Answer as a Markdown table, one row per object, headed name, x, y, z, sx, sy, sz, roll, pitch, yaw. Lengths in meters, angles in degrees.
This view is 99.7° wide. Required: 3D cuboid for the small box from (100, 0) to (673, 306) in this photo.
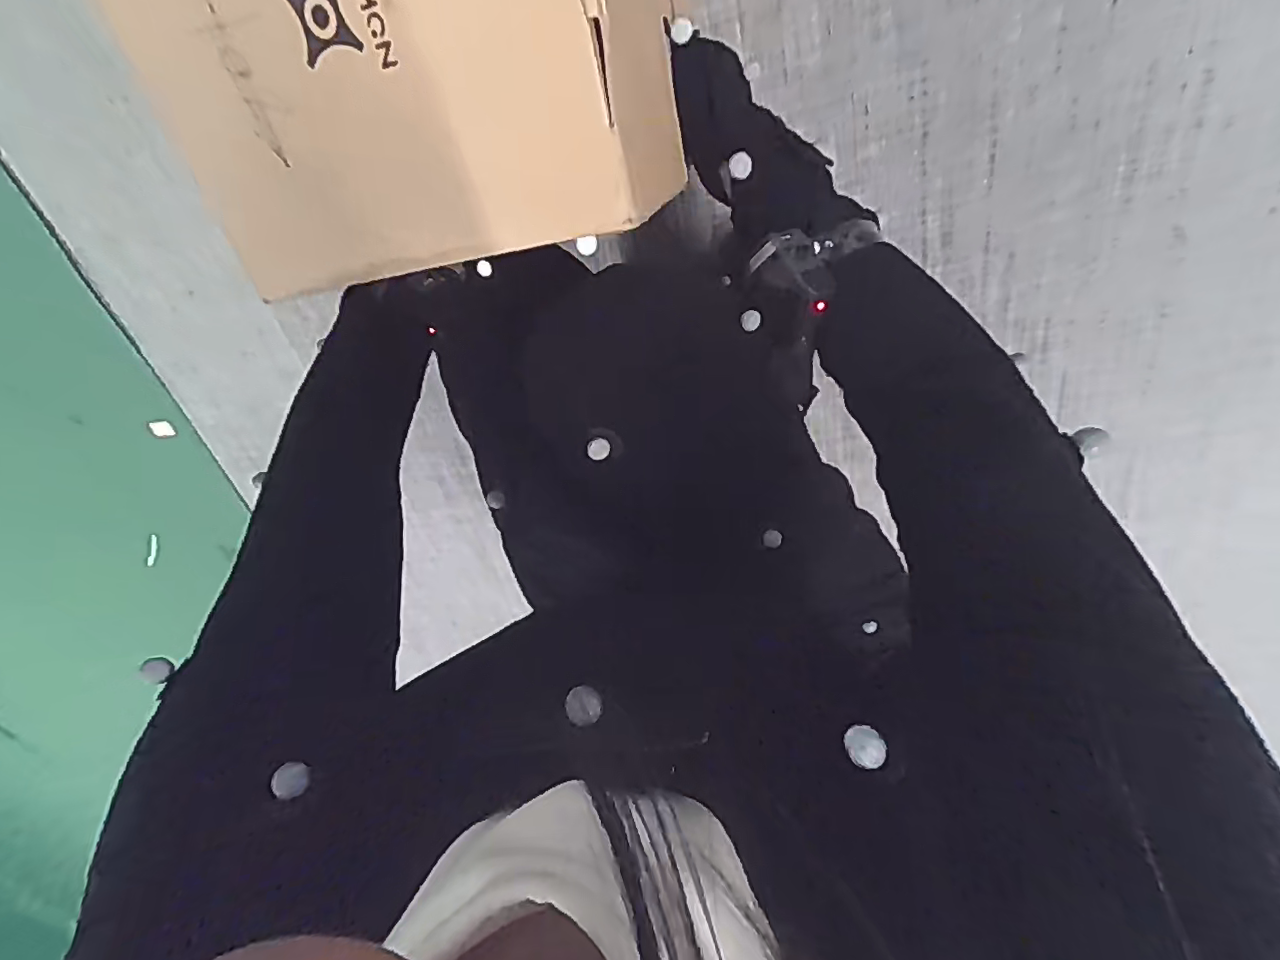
| name | x | y | z | sx | sy | sz | roll | pitch | yaw |
| --- | --- | --- | --- | --- | --- | --- | --- | --- | --- |
| small box | -0.087 | -0.197 | 0.247 | 0.179 | 0.176 | 0.168 | -5 | 121 | 17 |
